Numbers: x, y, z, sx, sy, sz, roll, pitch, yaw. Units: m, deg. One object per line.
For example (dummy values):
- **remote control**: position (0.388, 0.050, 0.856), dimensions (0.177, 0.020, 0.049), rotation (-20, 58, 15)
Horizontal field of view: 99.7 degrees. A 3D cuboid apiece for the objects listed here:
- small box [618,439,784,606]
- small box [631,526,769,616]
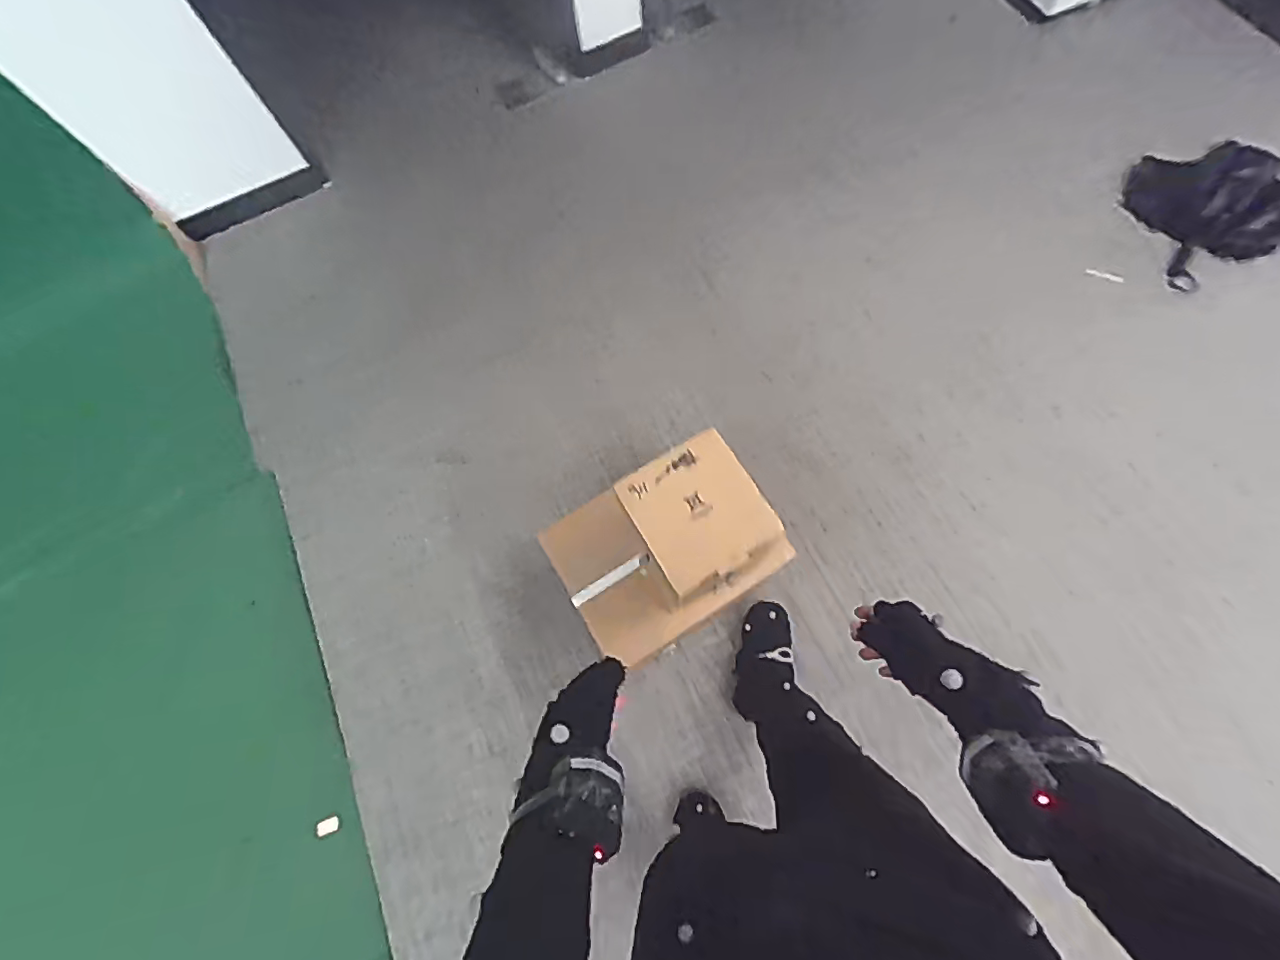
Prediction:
- **small box**: position (0.087, 0.074, 0.801), dimensions (0.168, 0.176, 0.179), rotation (-30, 72, -6)
- **small box**: position (0.101, 0.126, 0.955), dimensions (0.179, 0.176, 0.168), rotation (-28, 71, -4)
